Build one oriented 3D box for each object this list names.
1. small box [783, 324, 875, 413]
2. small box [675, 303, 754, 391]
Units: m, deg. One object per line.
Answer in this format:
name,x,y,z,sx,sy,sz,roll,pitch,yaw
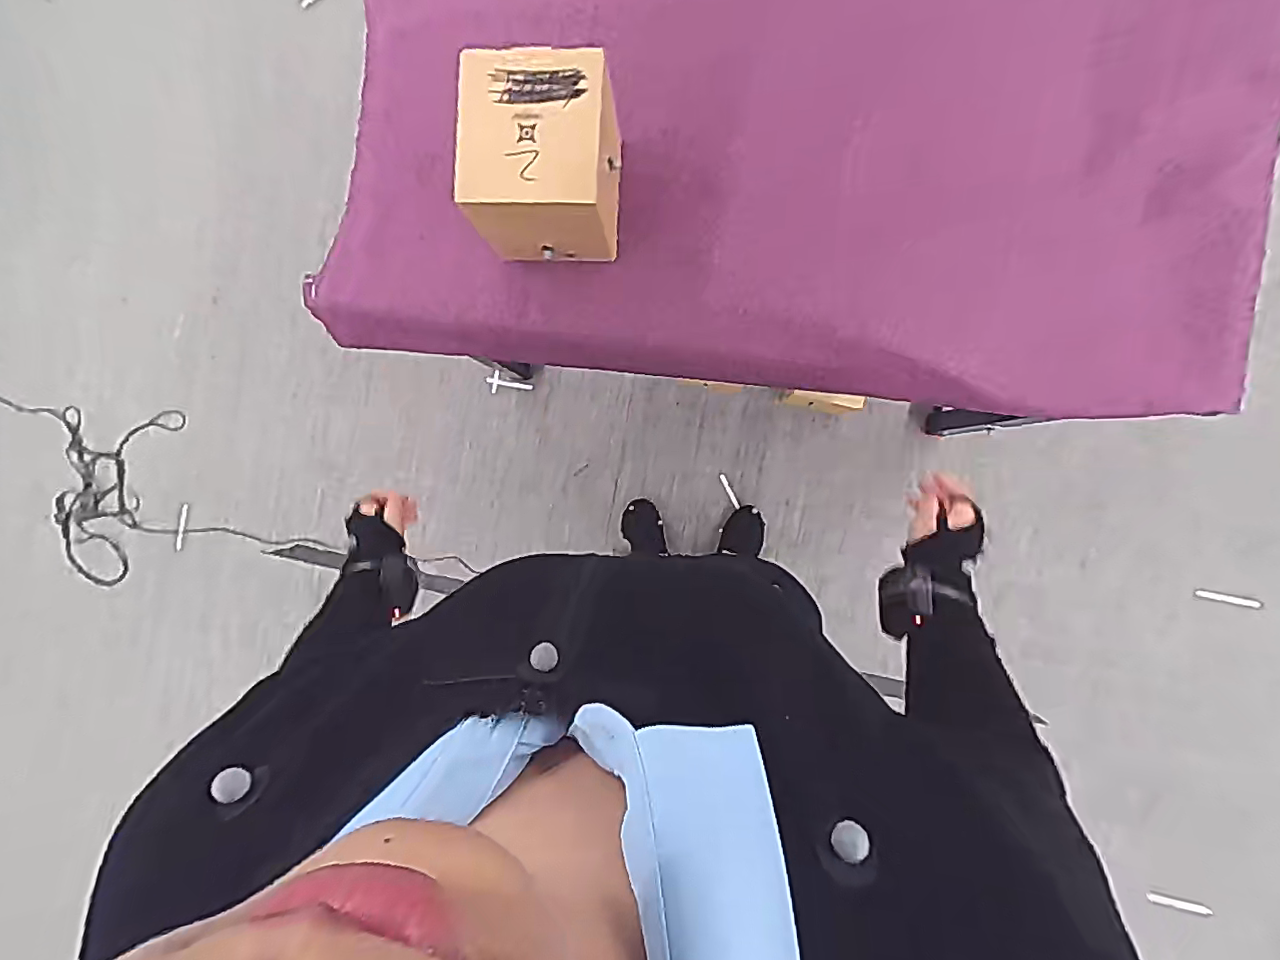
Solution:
small box,0.472,-0.276,1.377,0.168,0.176,0.179,13,91,5
small box,0.189,-0.335,1.397,0.168,0.176,0.179,11,91,4
